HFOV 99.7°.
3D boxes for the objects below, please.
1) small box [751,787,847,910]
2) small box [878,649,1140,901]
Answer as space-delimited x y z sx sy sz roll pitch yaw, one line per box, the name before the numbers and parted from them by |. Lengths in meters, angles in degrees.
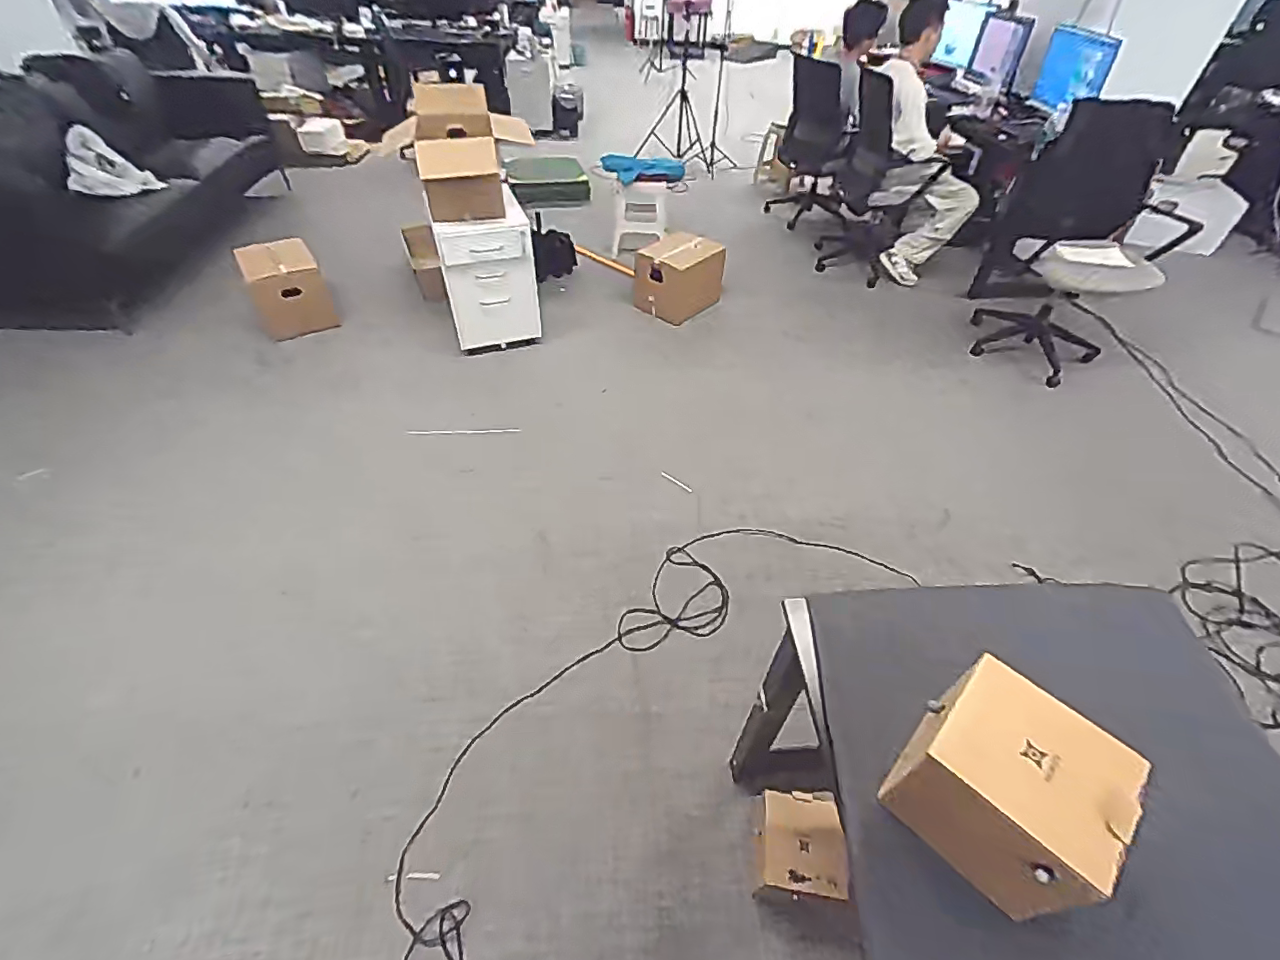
small box | 0.340 0.811 1.190 0.168 0.176 0.179 8 45 6
small box | 0.413 0.343 0.631 0.179 0.176 0.168 36 54 29
